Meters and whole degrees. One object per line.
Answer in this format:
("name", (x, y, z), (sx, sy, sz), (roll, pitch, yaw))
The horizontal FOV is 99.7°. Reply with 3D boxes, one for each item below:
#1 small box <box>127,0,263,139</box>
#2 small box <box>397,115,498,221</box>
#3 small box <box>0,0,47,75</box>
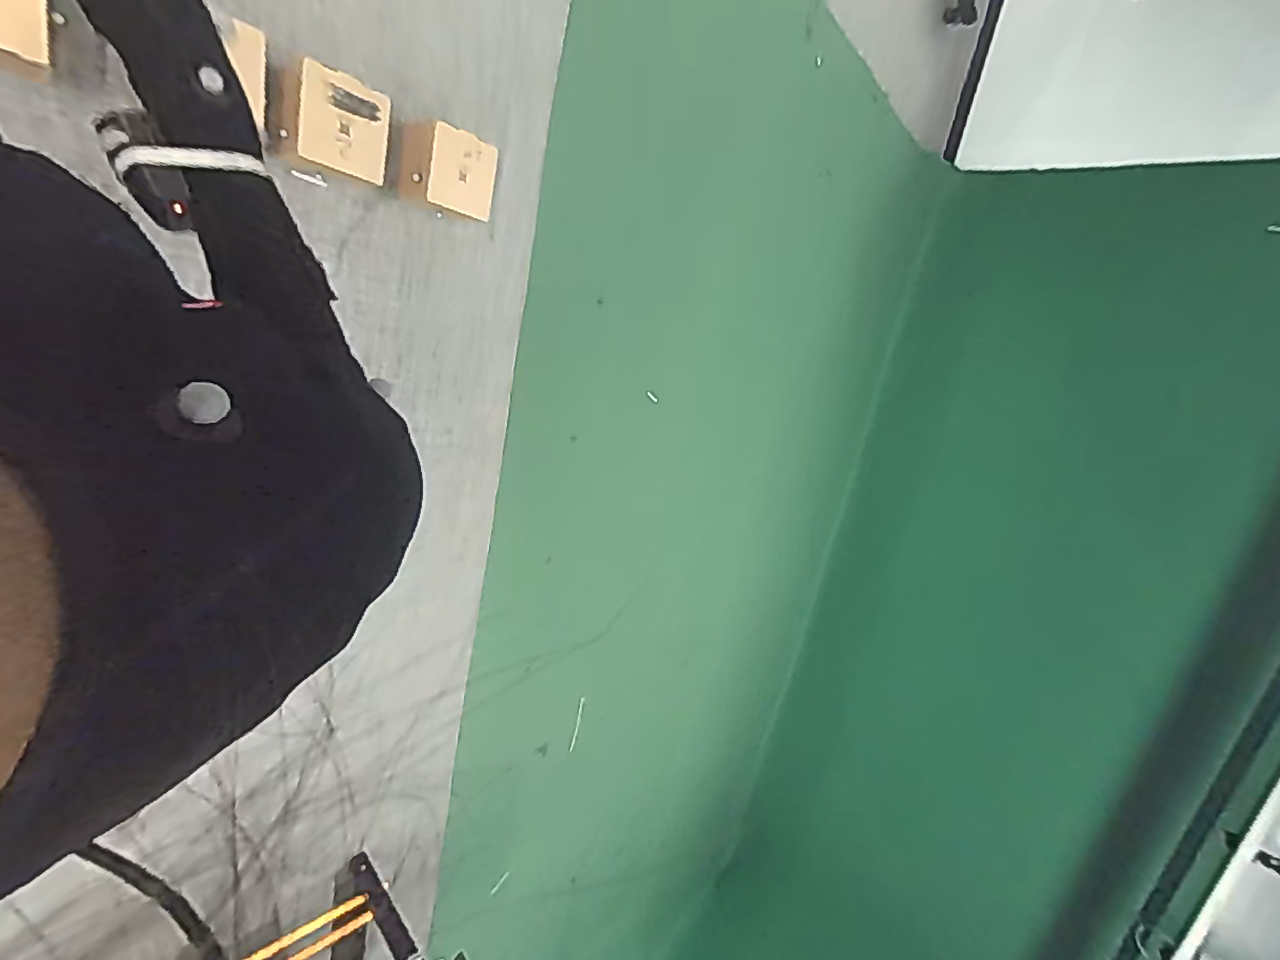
("small box", (-0.797, -0.741, 0.968), (0.168, 0.176, 0.179), (-3, 110, -47))
("small box", (-0.477, -0.757, 1.328), (0.168, 0.176, 0.179), (-3, 111, -49))
("small box", (-0.978, -0.726, 0.774), (0.168, 0.176, 0.179), (-3, 111, -47))
